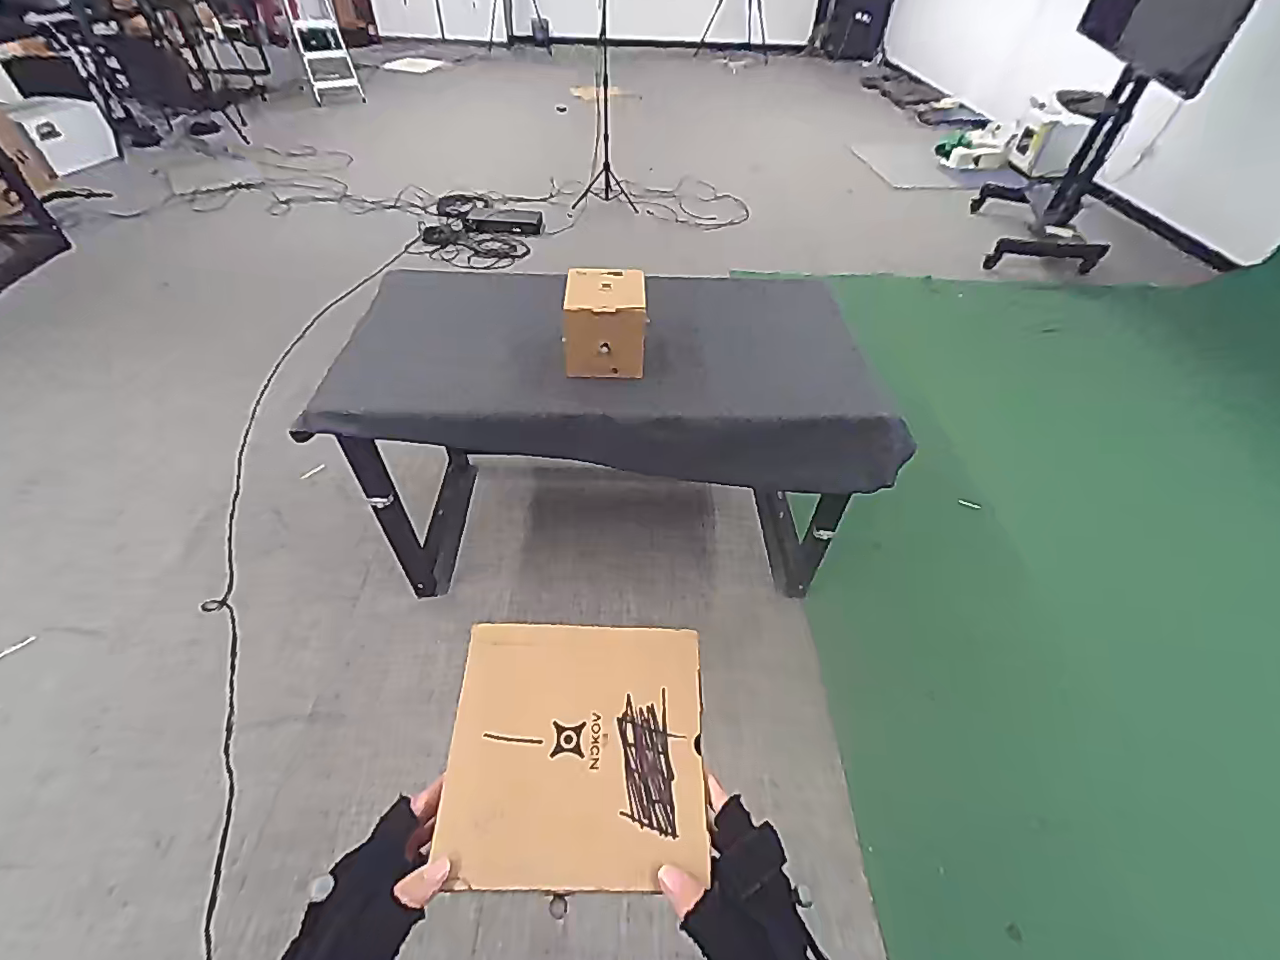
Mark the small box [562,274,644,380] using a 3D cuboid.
[{"bbox_3d":[-0.076,-0.333,1.186,0.168,0.176,0.179,-1,46,-1],"label":"small box"}]
